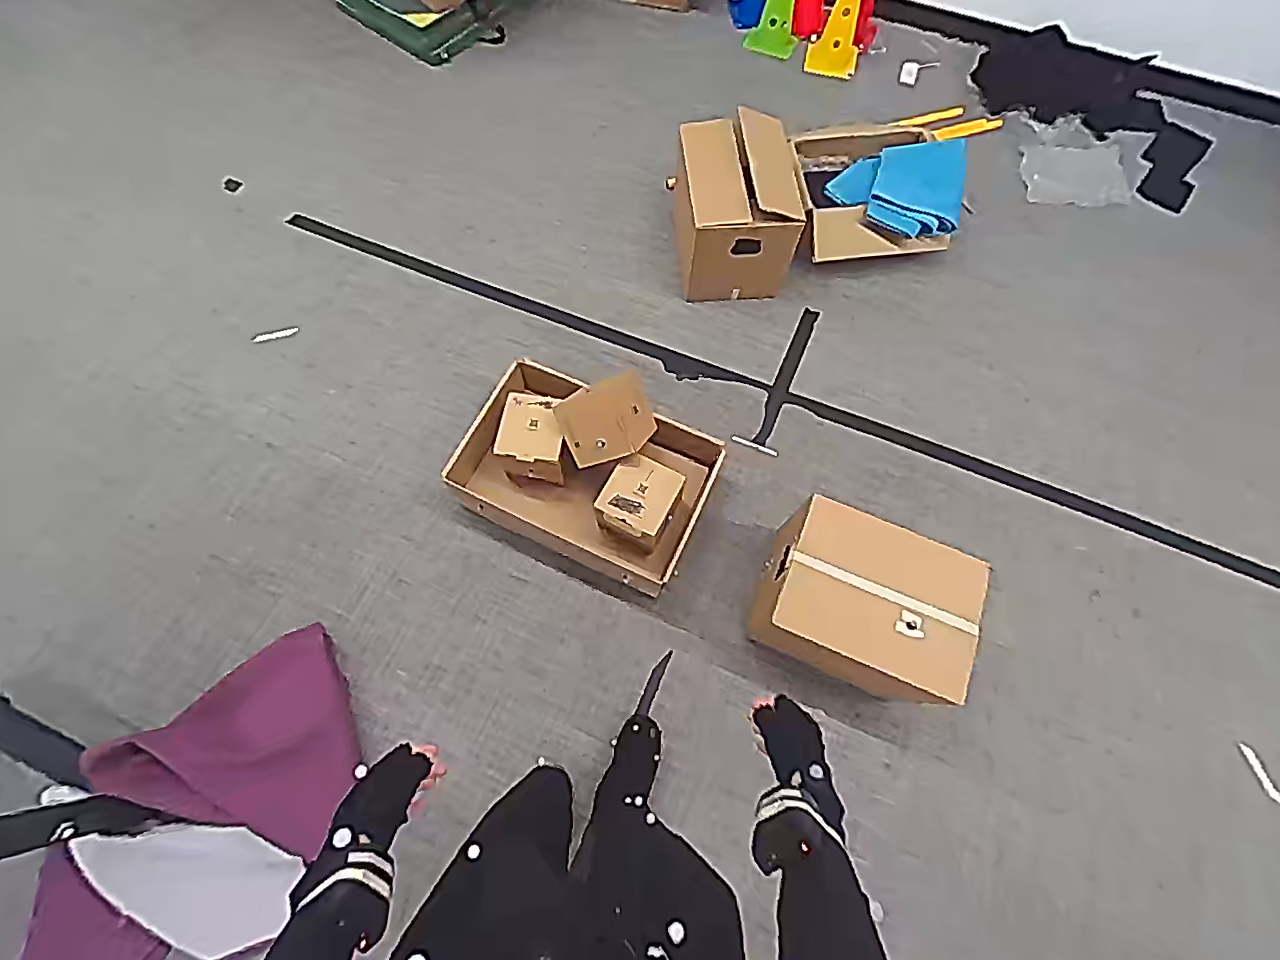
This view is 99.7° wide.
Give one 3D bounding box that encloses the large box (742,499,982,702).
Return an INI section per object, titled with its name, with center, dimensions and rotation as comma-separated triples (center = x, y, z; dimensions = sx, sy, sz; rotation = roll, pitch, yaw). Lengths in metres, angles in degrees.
[large box]
center = 0.500, 0.295, 1.282
dimensions = 0.408, 0.320, 0.320
rotation = 22, 70, 6
